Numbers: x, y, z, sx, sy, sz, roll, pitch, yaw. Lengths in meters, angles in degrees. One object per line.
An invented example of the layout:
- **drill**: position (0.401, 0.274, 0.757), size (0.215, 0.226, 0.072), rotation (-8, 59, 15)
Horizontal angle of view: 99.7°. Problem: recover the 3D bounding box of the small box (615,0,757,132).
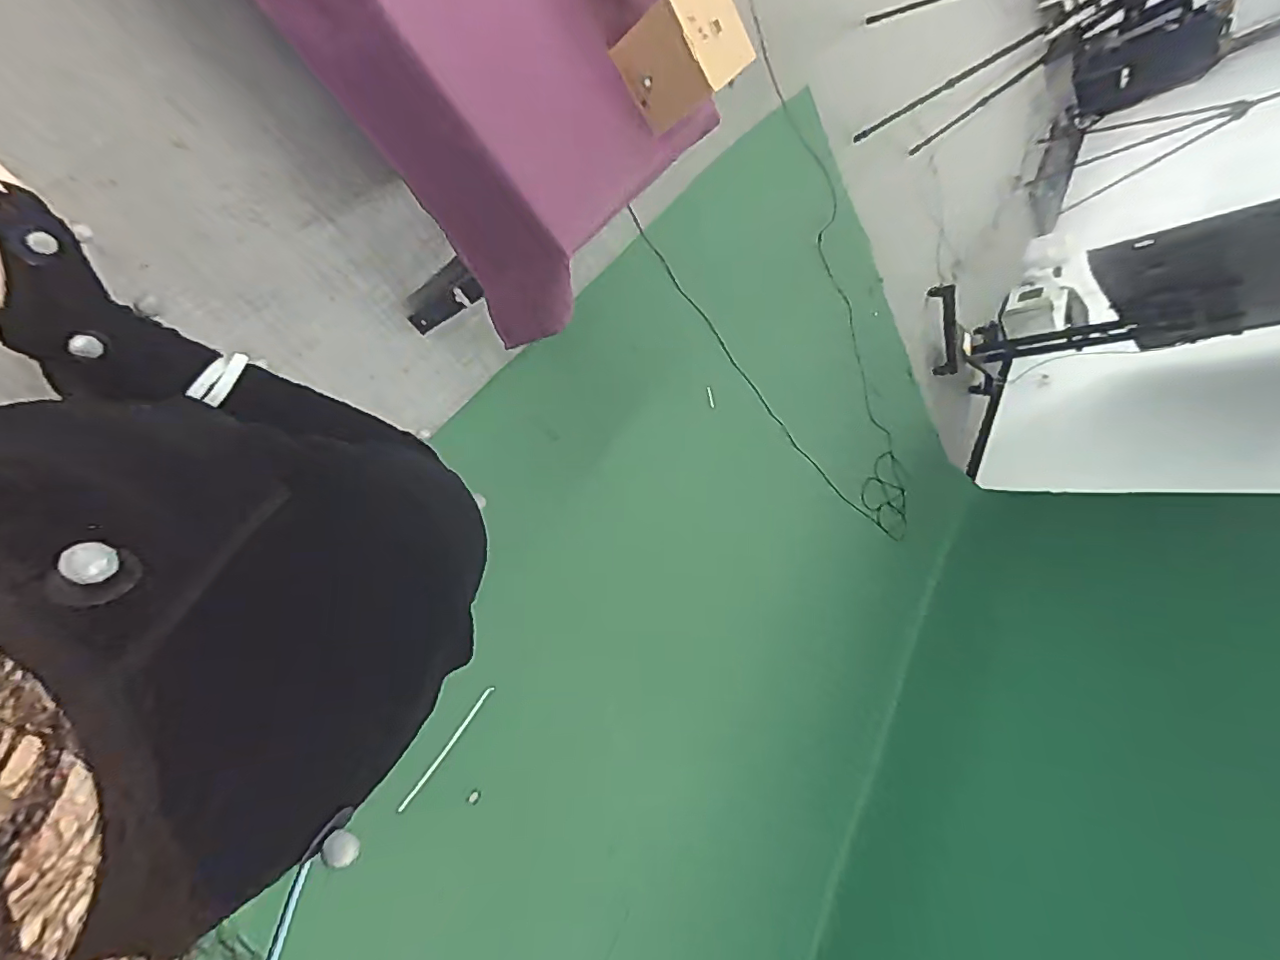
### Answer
- **small box**: position (0.084, -0.811, 1.026), size (0.168, 0.176, 0.179), rotation (51, 62, -27)
